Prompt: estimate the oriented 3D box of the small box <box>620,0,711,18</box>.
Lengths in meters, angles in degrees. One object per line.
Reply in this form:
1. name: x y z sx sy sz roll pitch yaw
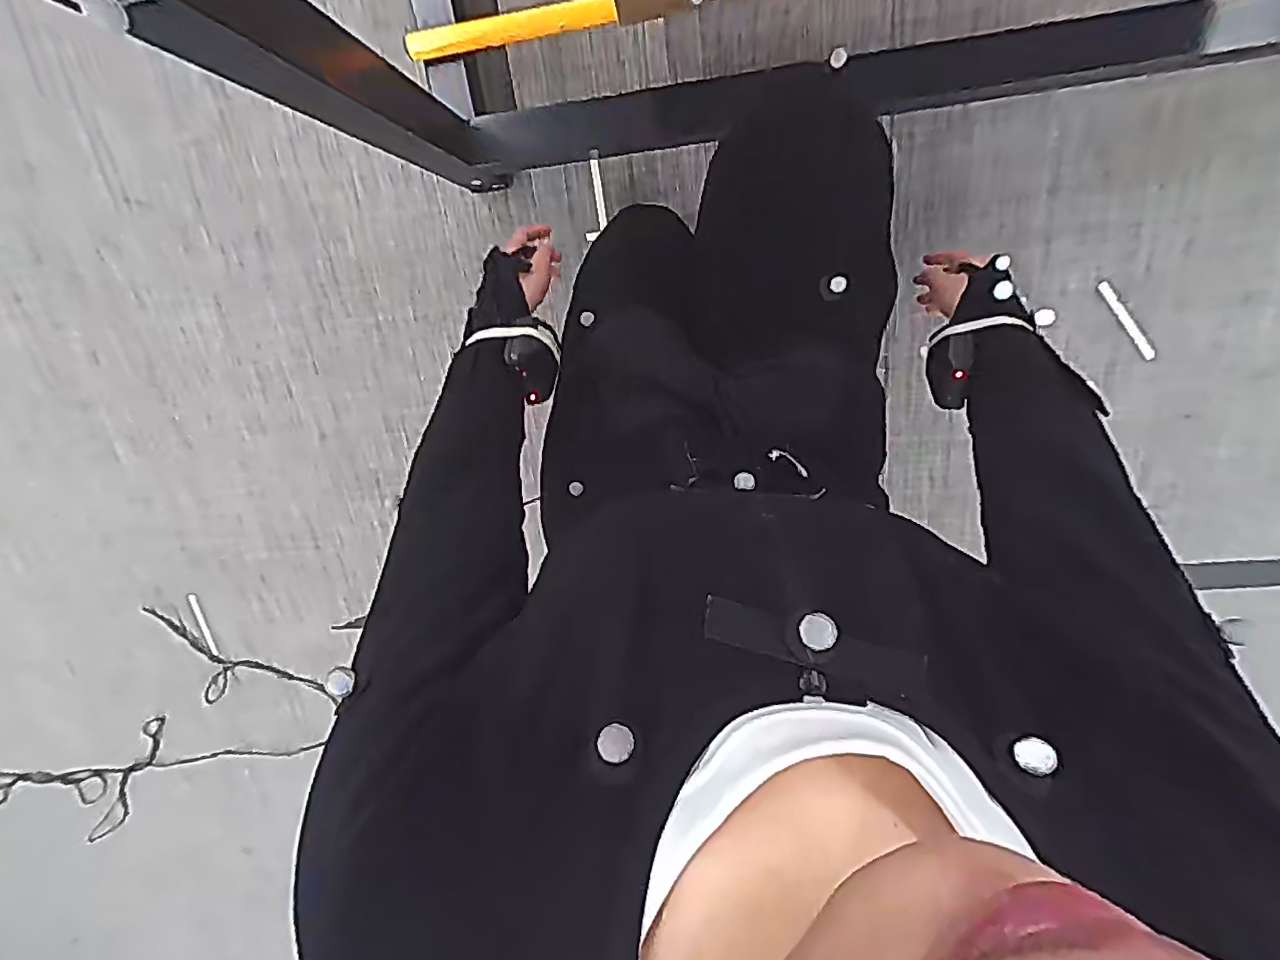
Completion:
1. small box: 0.039 -0.562 0.474 0.168 0.176 0.179 -8 110 7
